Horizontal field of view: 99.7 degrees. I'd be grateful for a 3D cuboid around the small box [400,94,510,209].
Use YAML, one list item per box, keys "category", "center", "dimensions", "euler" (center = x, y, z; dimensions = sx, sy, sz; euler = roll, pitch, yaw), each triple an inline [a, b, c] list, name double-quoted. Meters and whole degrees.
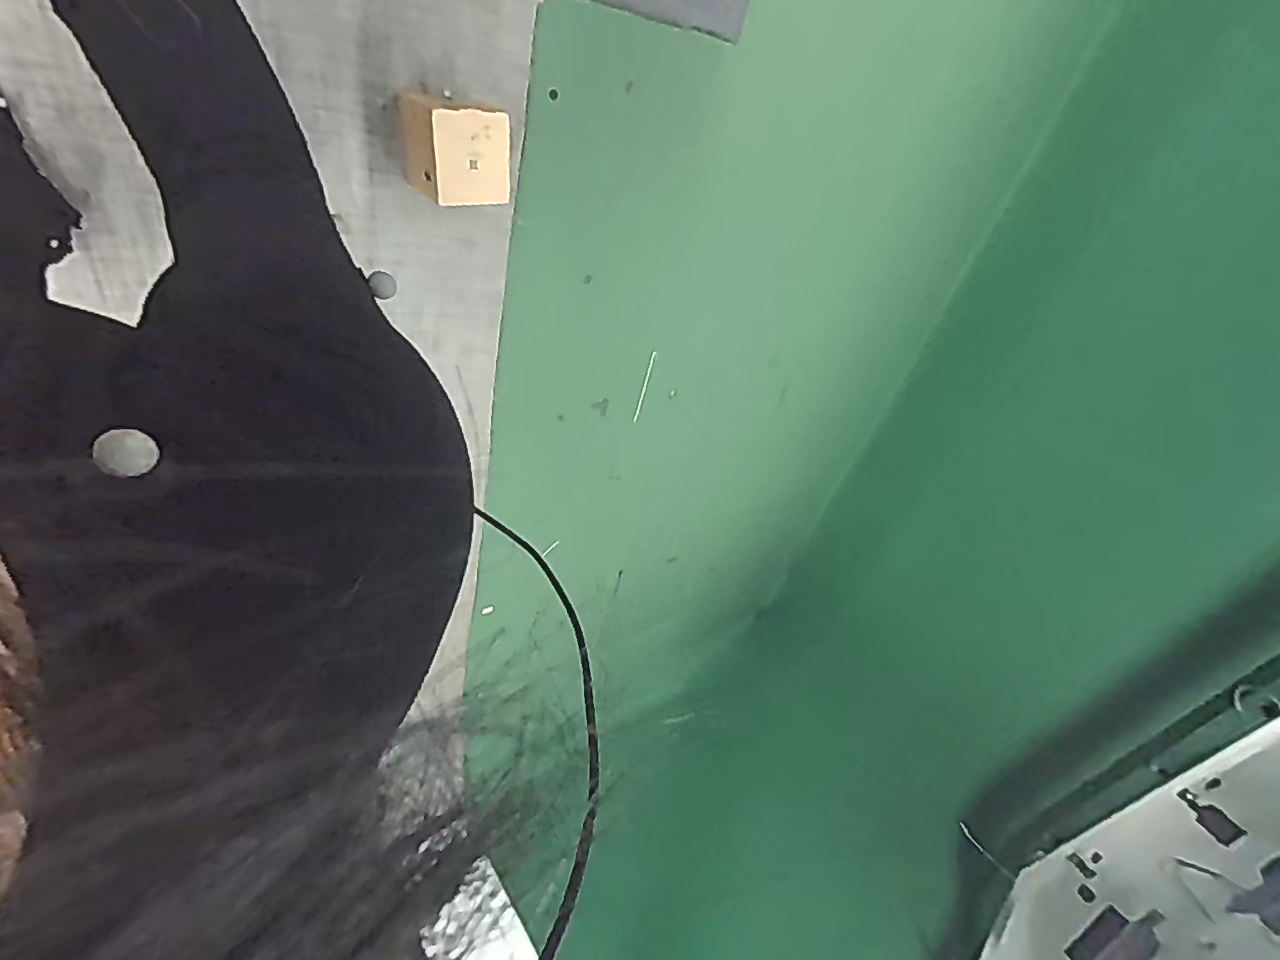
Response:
- category: "small box"
  center: [-0.393, -0.699, 1.155]
  dimensions: [0.168, 0.176, 0.179]
  euler: [-22, 140, -34]
